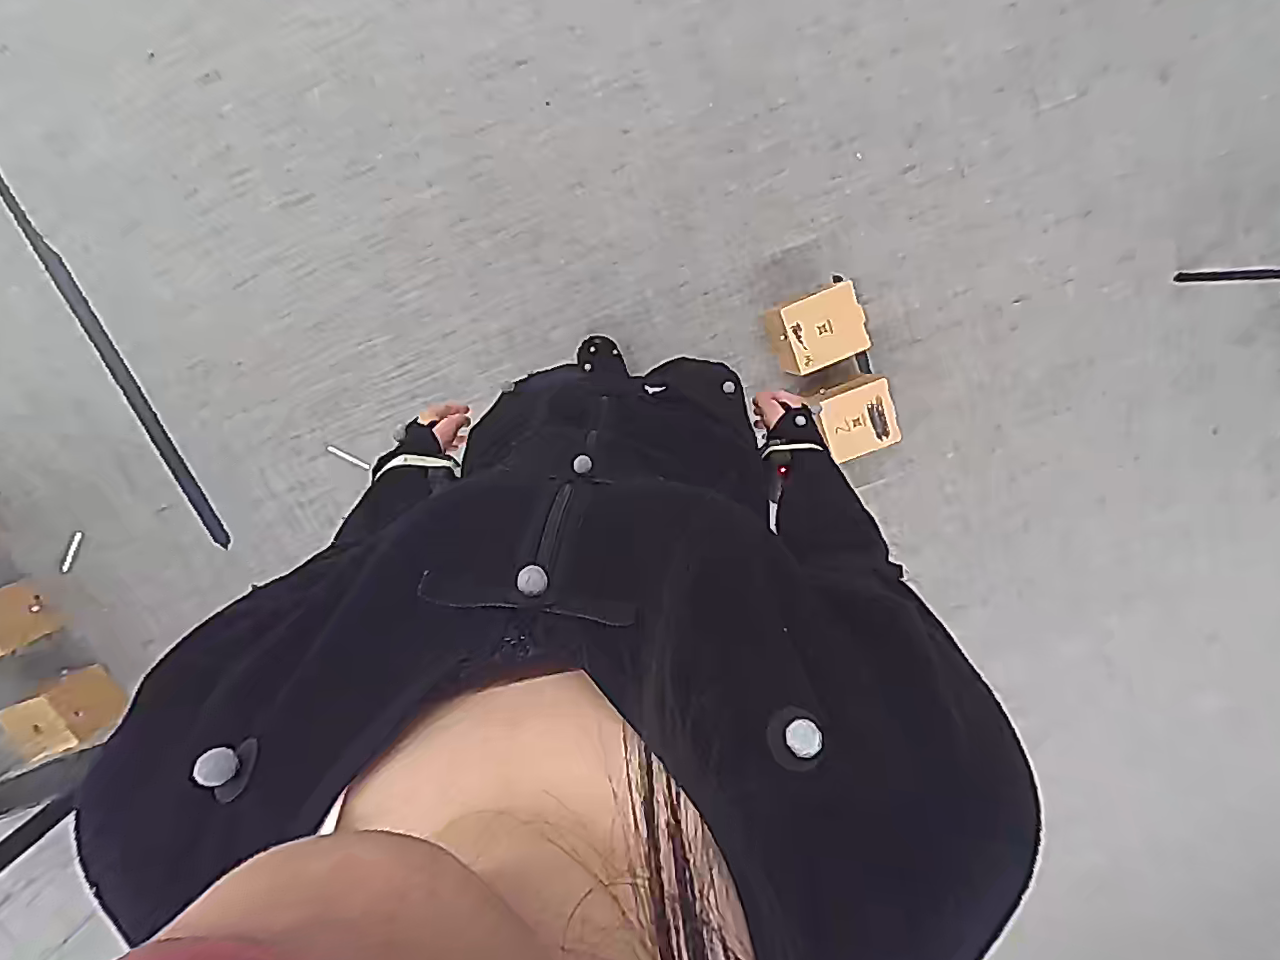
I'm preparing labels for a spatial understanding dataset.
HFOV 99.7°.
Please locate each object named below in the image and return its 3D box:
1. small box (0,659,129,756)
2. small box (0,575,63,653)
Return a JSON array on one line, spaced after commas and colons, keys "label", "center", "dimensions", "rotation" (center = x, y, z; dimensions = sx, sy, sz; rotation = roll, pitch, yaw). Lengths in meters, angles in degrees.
[{"label": "small box", "center": [-1.668, 0.657, 1.575], "dimensions": [0.168, 0.176, 0.179], "rotation": [-18, 104, 3]}, {"label": "small box", "center": [-1.794, 0.389, 1.500], "dimensions": [0.179, 0.176, 0.168], "rotation": [-22, 105, 4]}]
